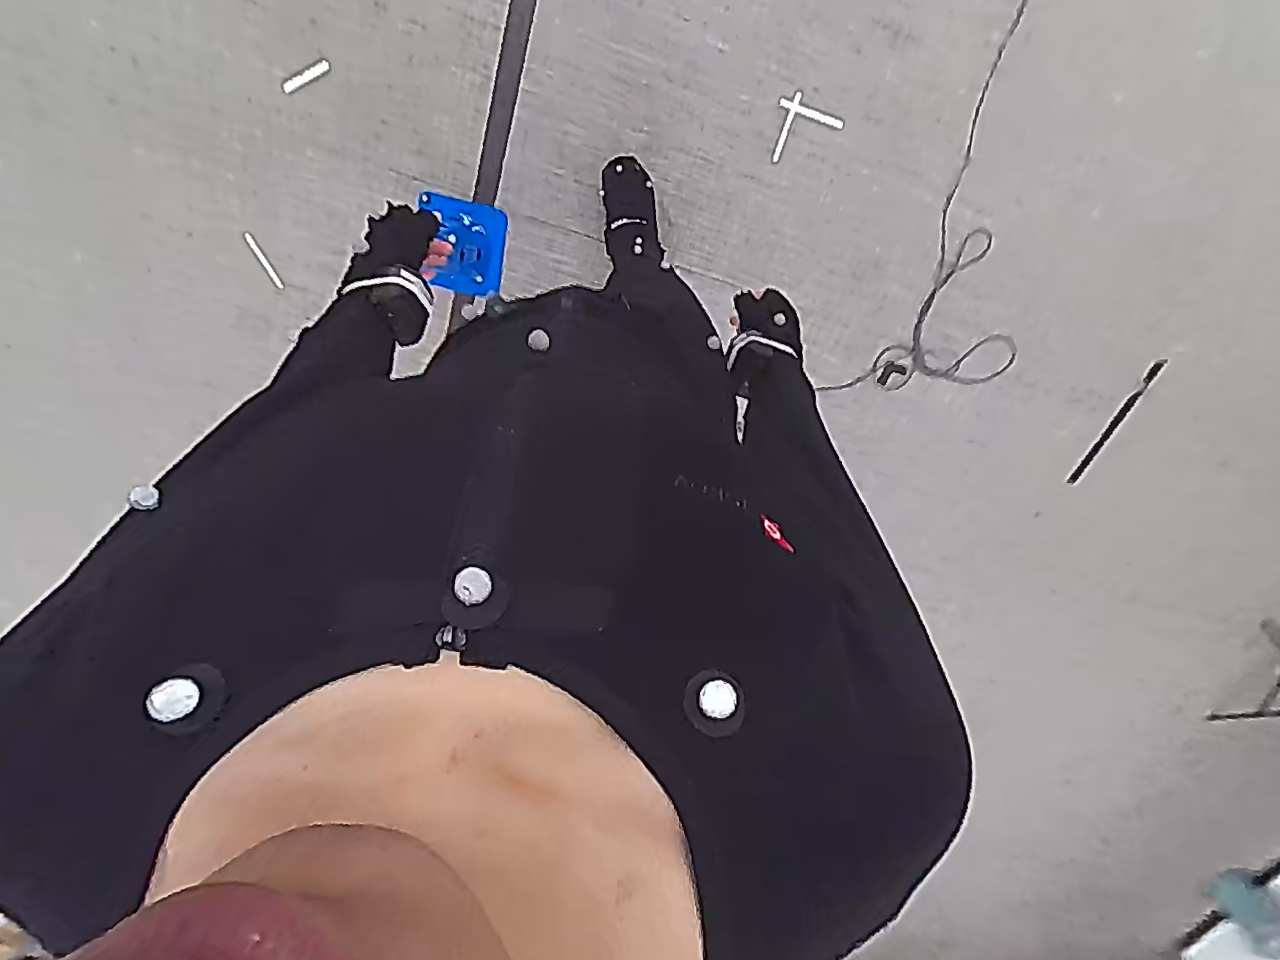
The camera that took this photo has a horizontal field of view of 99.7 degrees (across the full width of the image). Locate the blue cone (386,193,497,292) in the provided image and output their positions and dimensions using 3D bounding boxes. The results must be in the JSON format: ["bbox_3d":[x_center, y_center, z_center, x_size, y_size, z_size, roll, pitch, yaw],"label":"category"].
[{"bbox_3d":[-0.423,-0.479,1.105,0.192,0.380,0.193,12,113,-9],"label":"blue cone"}]
